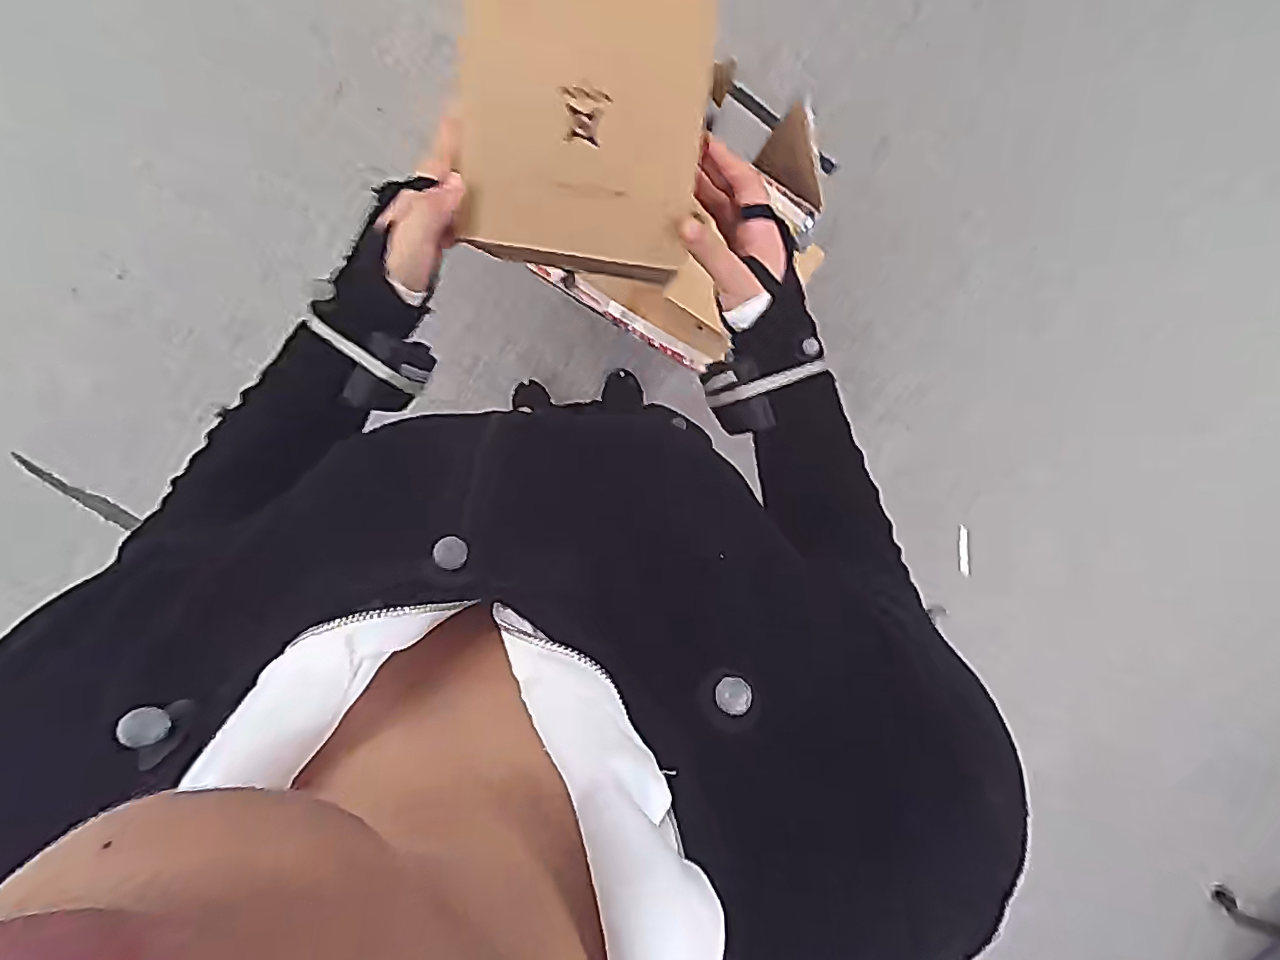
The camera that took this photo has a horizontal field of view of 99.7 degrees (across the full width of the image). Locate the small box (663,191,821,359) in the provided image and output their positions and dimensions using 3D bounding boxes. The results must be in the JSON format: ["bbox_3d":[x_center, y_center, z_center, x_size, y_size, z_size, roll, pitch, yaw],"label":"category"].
[{"bbox_3d":[0.148,-0.312,0.859,0.168,0.176,0.179,31,101,-10],"label":"small box"}]

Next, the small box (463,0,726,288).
[{"bbox_3d":[-0.038,-0.268,0.450,0.168,0.176,0.179,7,106,-4],"label":"small box"}]
